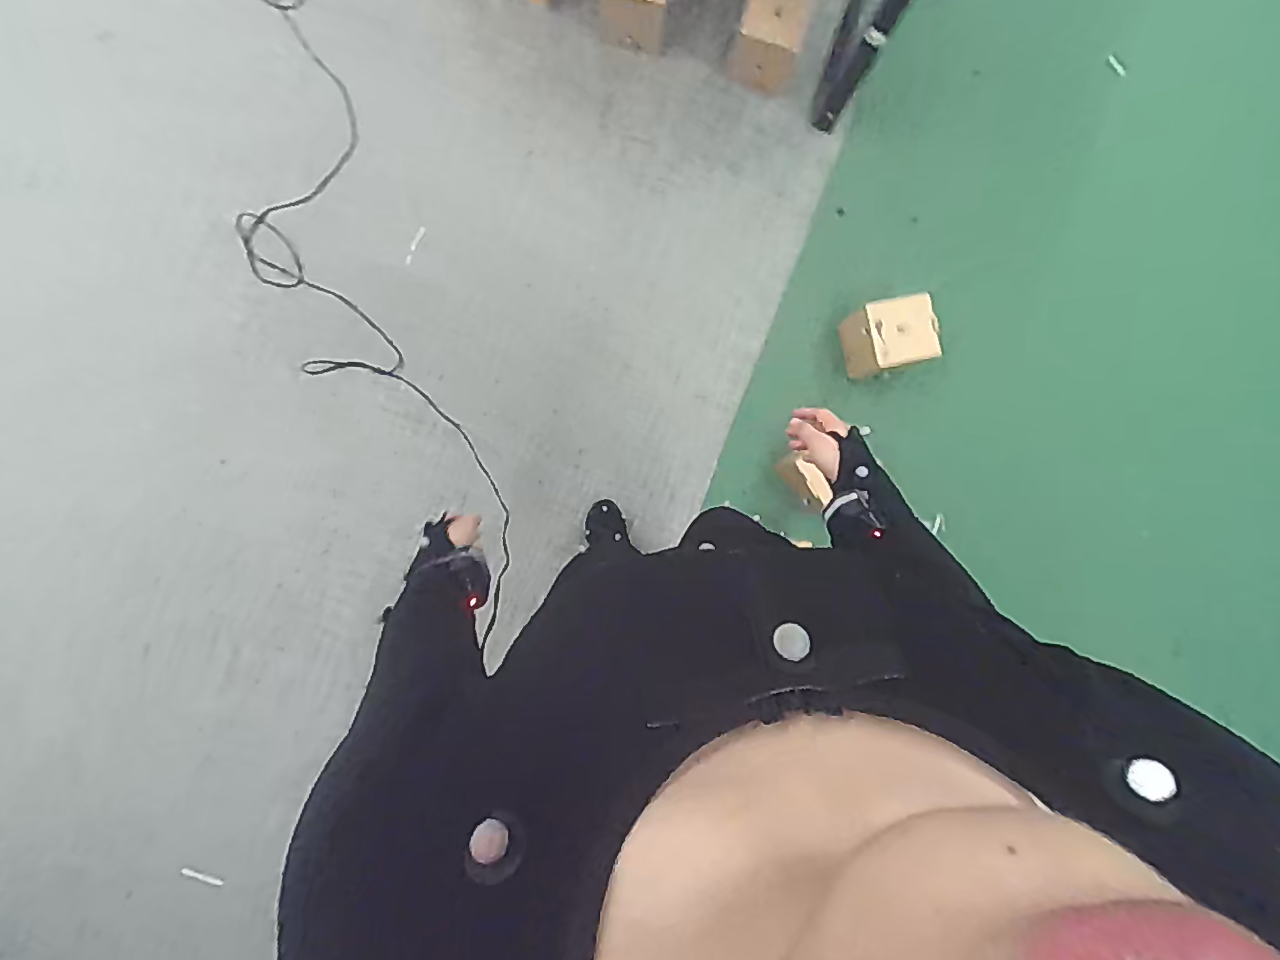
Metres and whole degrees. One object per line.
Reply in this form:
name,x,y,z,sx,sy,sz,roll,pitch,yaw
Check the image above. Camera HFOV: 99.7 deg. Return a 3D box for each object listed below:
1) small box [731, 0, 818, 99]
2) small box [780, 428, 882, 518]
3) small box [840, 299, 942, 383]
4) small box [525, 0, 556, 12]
small box,0.354,-1.184,1.459,0.168,0.176,0.179,16,88,-3
small box,0.494,-0.015,1.437,0.179,0.176,0.168,-34,91,-4
small box,0.670,-0.370,1.459,0.179,0.176,0.168,-11,89,-4
small box,-0.286,-1.411,1.431,0.168,0.176,0.179,25,87,-2
